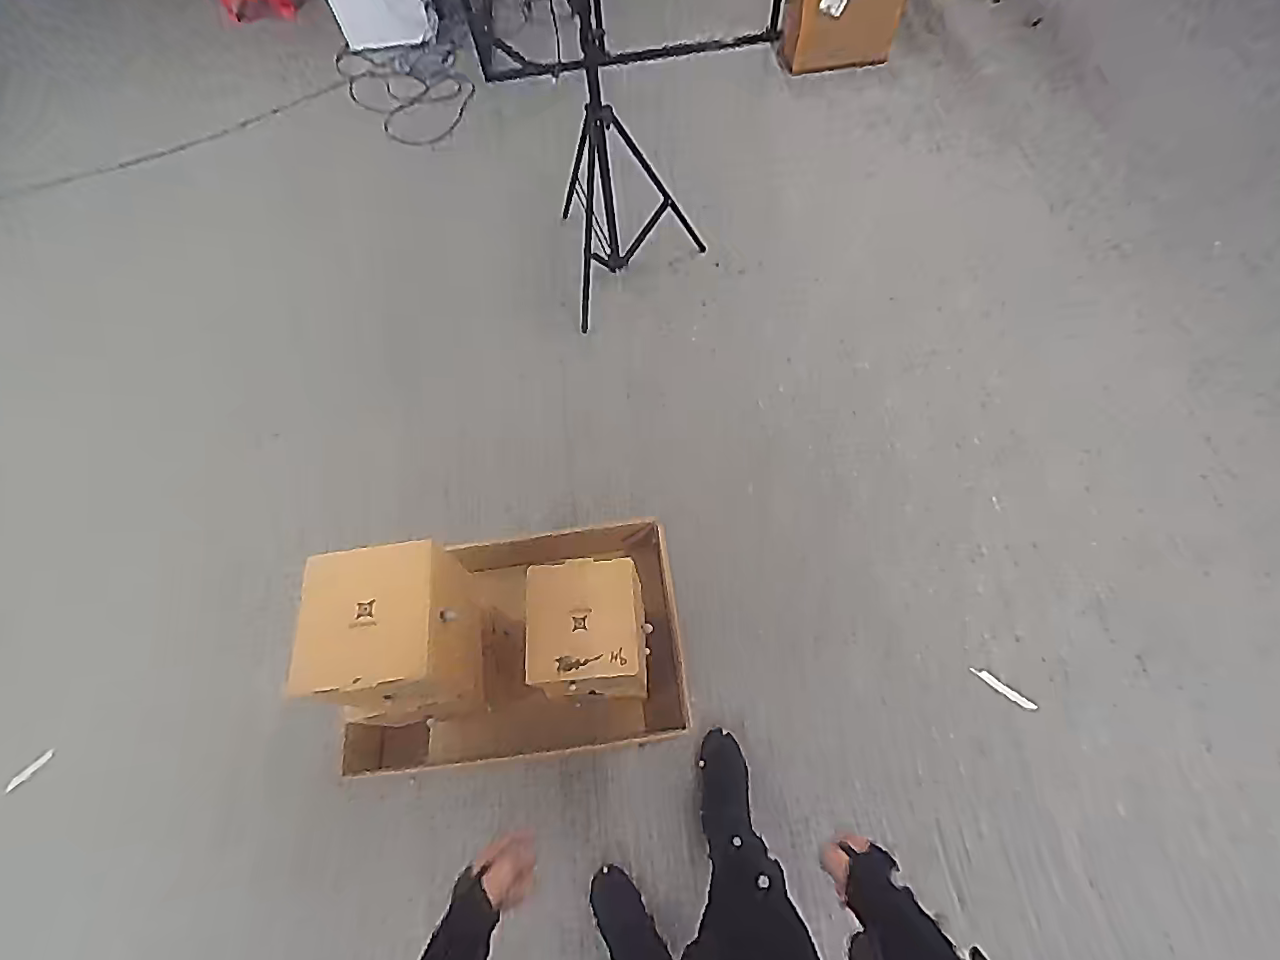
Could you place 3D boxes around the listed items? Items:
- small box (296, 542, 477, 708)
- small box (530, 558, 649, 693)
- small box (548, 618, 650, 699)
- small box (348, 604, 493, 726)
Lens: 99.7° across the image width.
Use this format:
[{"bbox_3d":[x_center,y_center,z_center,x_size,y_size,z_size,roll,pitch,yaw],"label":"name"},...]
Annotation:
[{"bbox_3d":[-0.327,0.202,0.736,0.168,0.176,0.179,-9,65,-2],"label":"small box"},{"bbox_3d":[-0.075,0.240,0.875,0.168,0.176,0.179,-5,64,3],"label":"small box"},{"bbox_3d":[-0.070,0.318,1.020,0.168,0.176,0.179,-3,65,3],"label":"small box"},{"bbox_3d":[-0.345,0.289,0.876,0.168,0.176,0.179,-11,65,-3],"label":"small box"}]
